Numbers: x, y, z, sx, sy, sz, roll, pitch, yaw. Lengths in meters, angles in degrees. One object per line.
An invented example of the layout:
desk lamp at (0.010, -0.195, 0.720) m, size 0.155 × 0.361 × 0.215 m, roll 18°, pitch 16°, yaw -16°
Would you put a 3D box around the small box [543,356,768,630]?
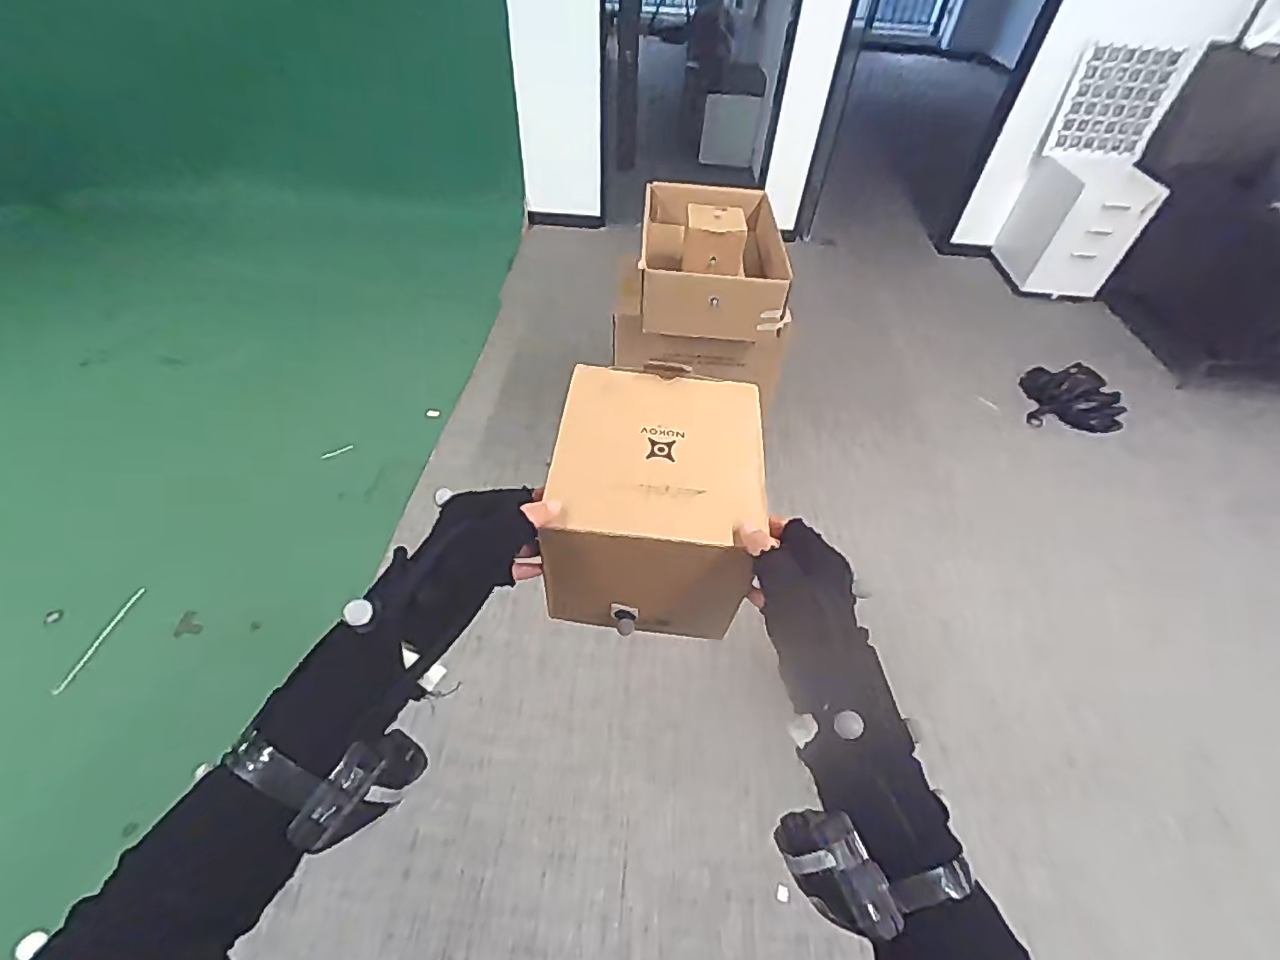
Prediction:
small box at (0.011, 0.016, 0.496) m, size 0.168 × 0.176 × 0.179 m, roll 7°, pitch 53°, yaw -1°
